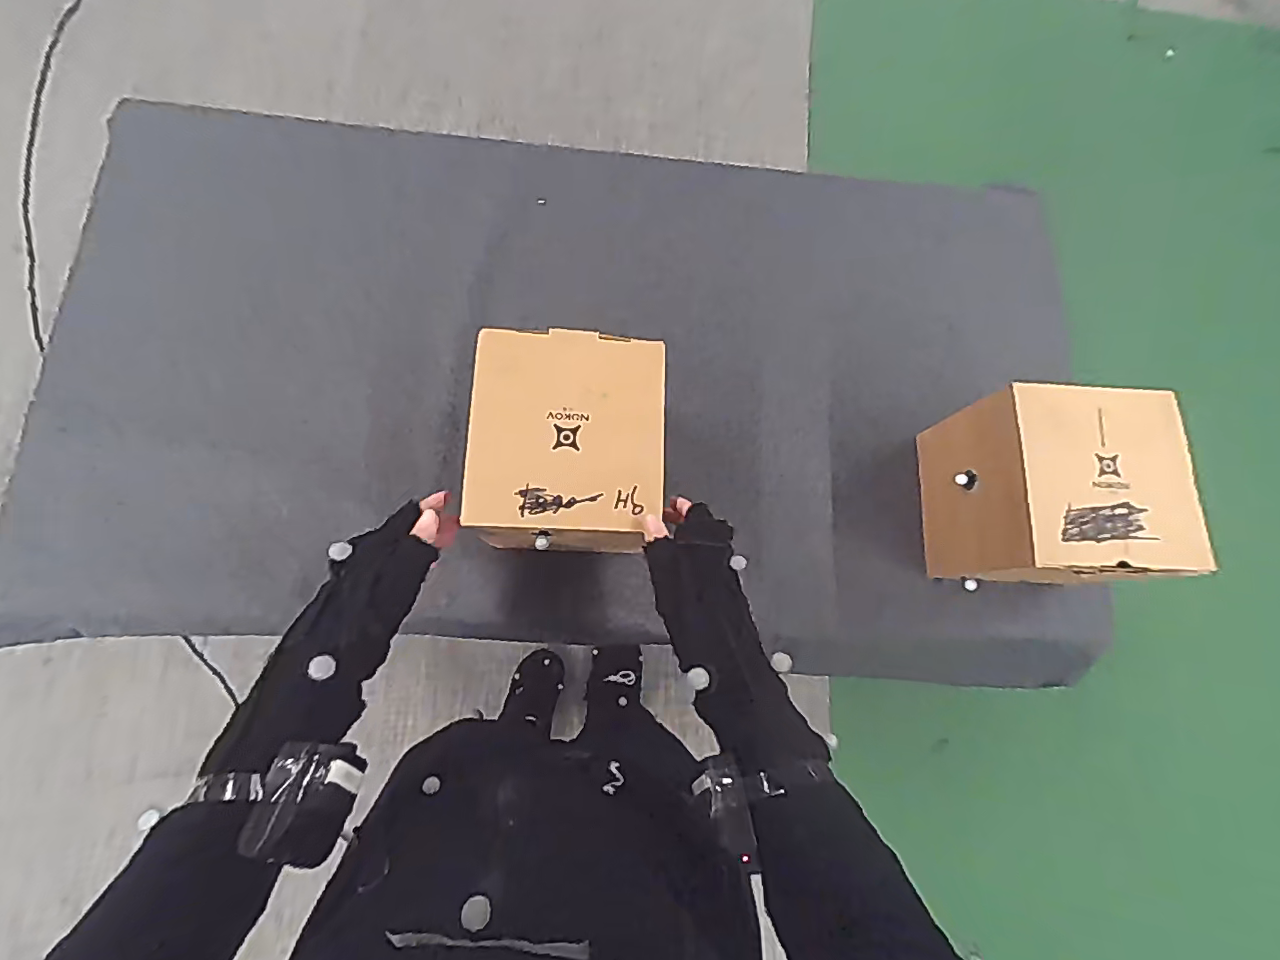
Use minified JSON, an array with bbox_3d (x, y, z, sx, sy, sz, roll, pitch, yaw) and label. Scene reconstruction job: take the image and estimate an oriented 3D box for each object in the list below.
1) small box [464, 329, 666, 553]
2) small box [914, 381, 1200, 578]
[{"bbox_3d":[-0.068,-0.027,0.543,0.168,0.176,0.179,3,76,-5],"label":"small box"},{"bbox_3d":[0.420,0.011,0.579,0.168,0.176,0.179,3,76,-3],"label":"small box"}]
